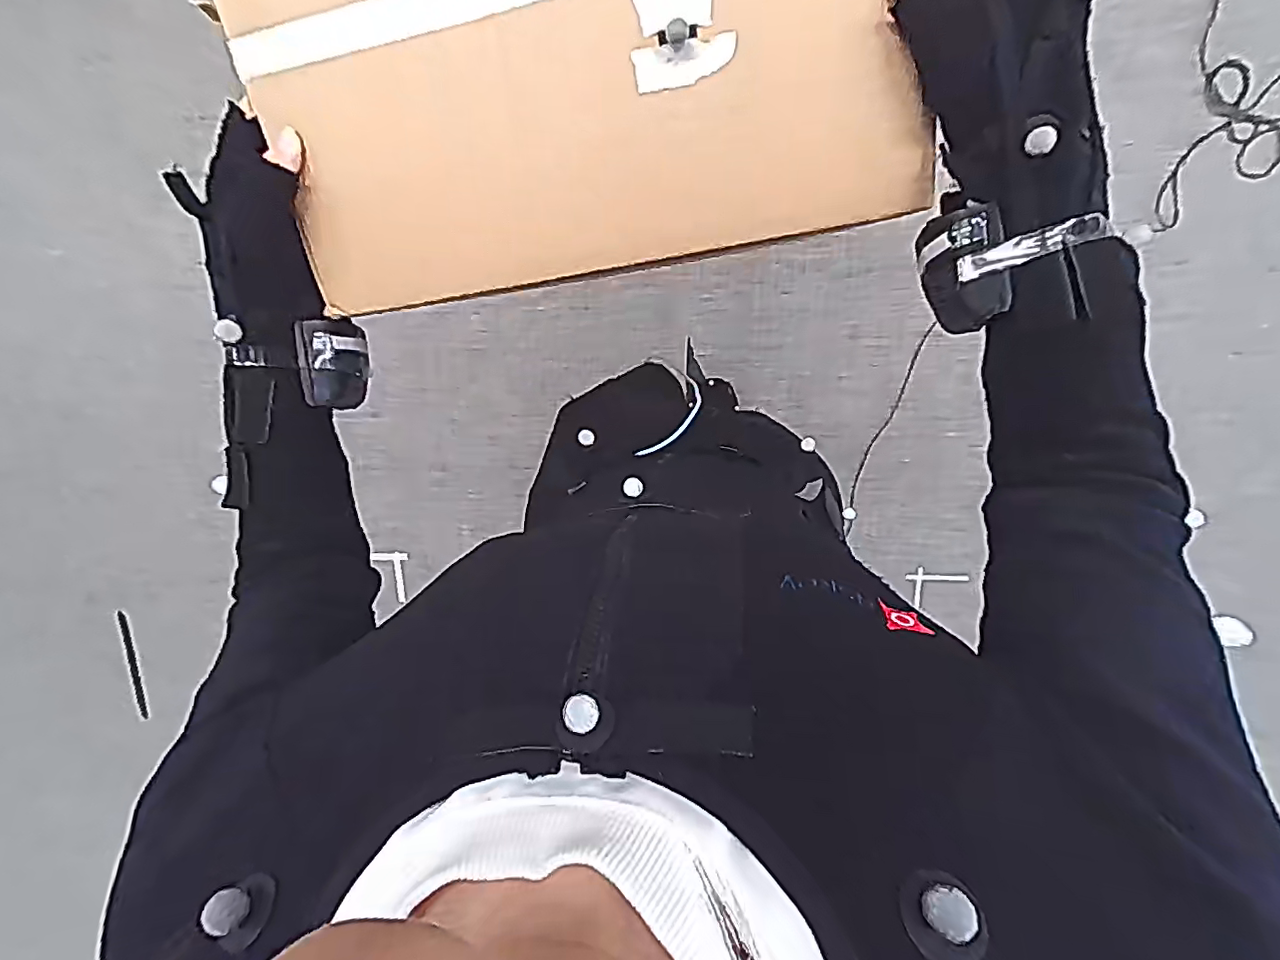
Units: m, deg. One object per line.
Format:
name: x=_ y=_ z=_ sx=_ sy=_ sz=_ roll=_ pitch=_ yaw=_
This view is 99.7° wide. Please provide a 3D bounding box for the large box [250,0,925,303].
large box: x=-0.031 y=-0.352 z=0.453 sx=0.408 sy=0.320 sz=0.320 roll=-7 pitch=112 yaw=9
